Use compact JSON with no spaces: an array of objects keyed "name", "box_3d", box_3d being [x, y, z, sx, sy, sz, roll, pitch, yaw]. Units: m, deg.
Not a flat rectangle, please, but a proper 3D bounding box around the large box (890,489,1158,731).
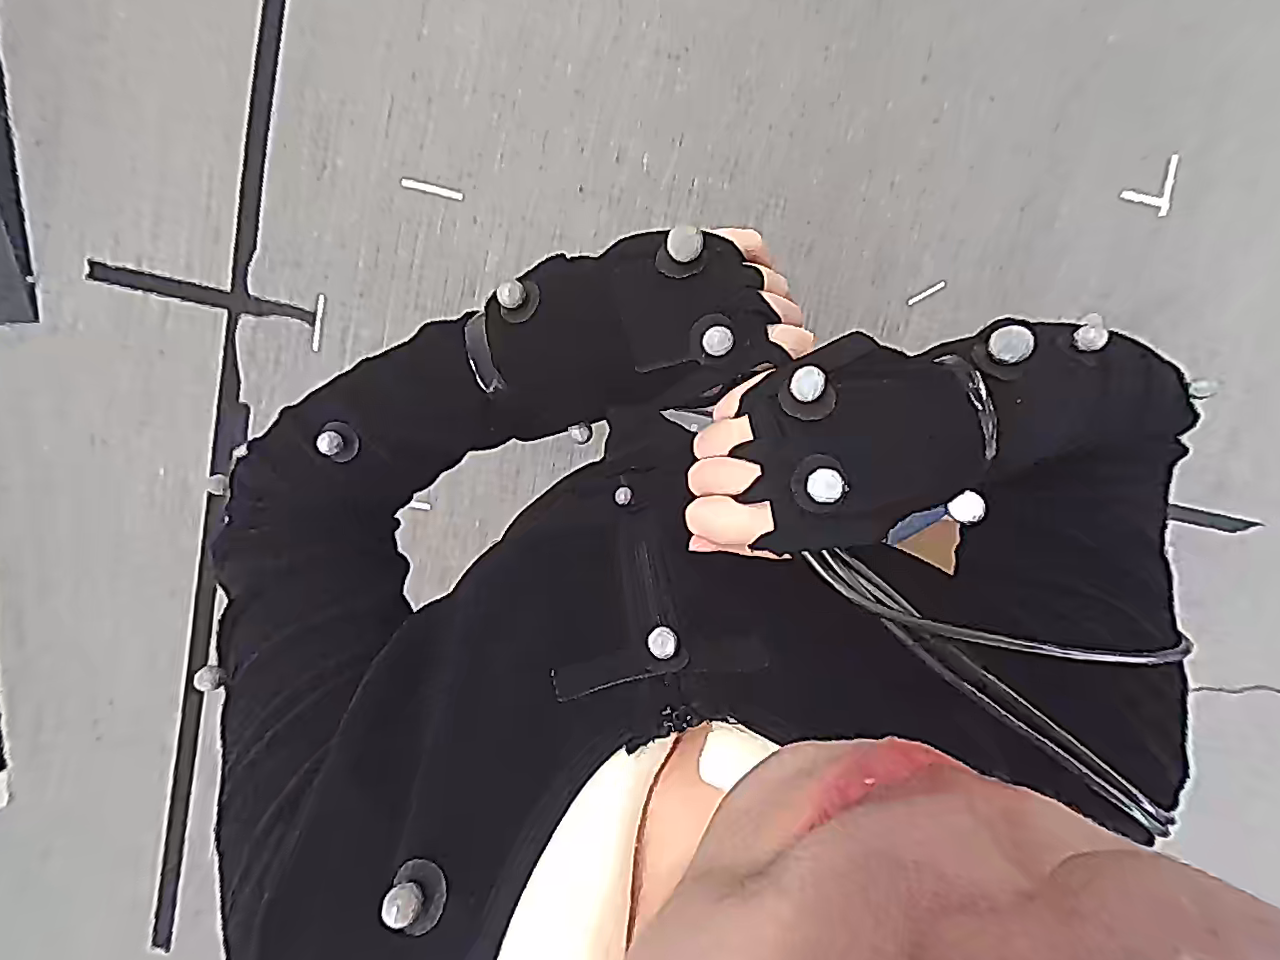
[{"name":"large box","box_3d":[0.876,0.279,1.277,0.320,0.320,0.408,-28,98,-2]}]
